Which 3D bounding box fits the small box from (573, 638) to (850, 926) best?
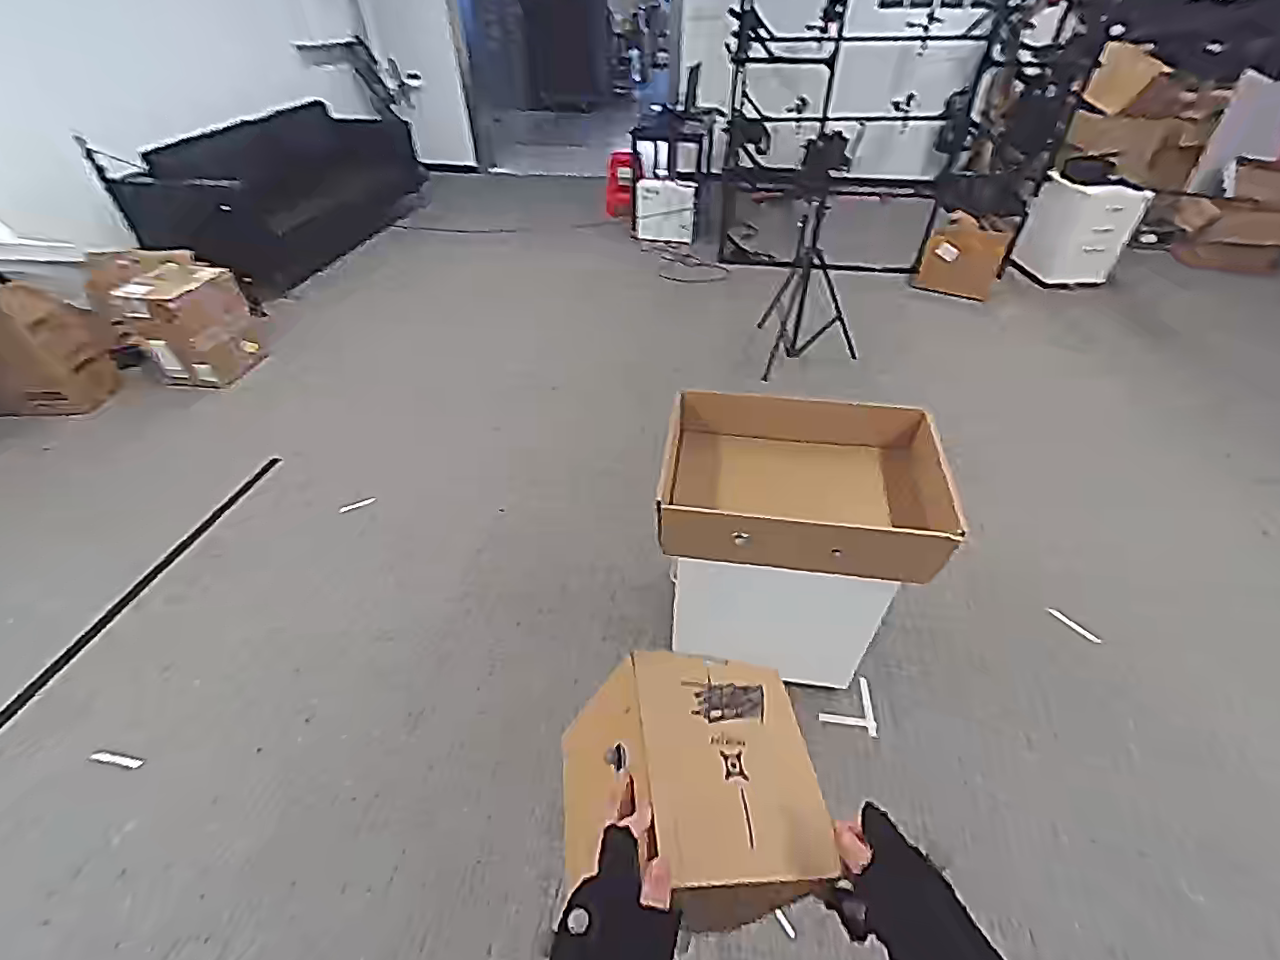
[{"bbox_3d":[0.044,0.273,0.492,0.168,0.176,0.179,15,39,-22],"label":"small box"}]
